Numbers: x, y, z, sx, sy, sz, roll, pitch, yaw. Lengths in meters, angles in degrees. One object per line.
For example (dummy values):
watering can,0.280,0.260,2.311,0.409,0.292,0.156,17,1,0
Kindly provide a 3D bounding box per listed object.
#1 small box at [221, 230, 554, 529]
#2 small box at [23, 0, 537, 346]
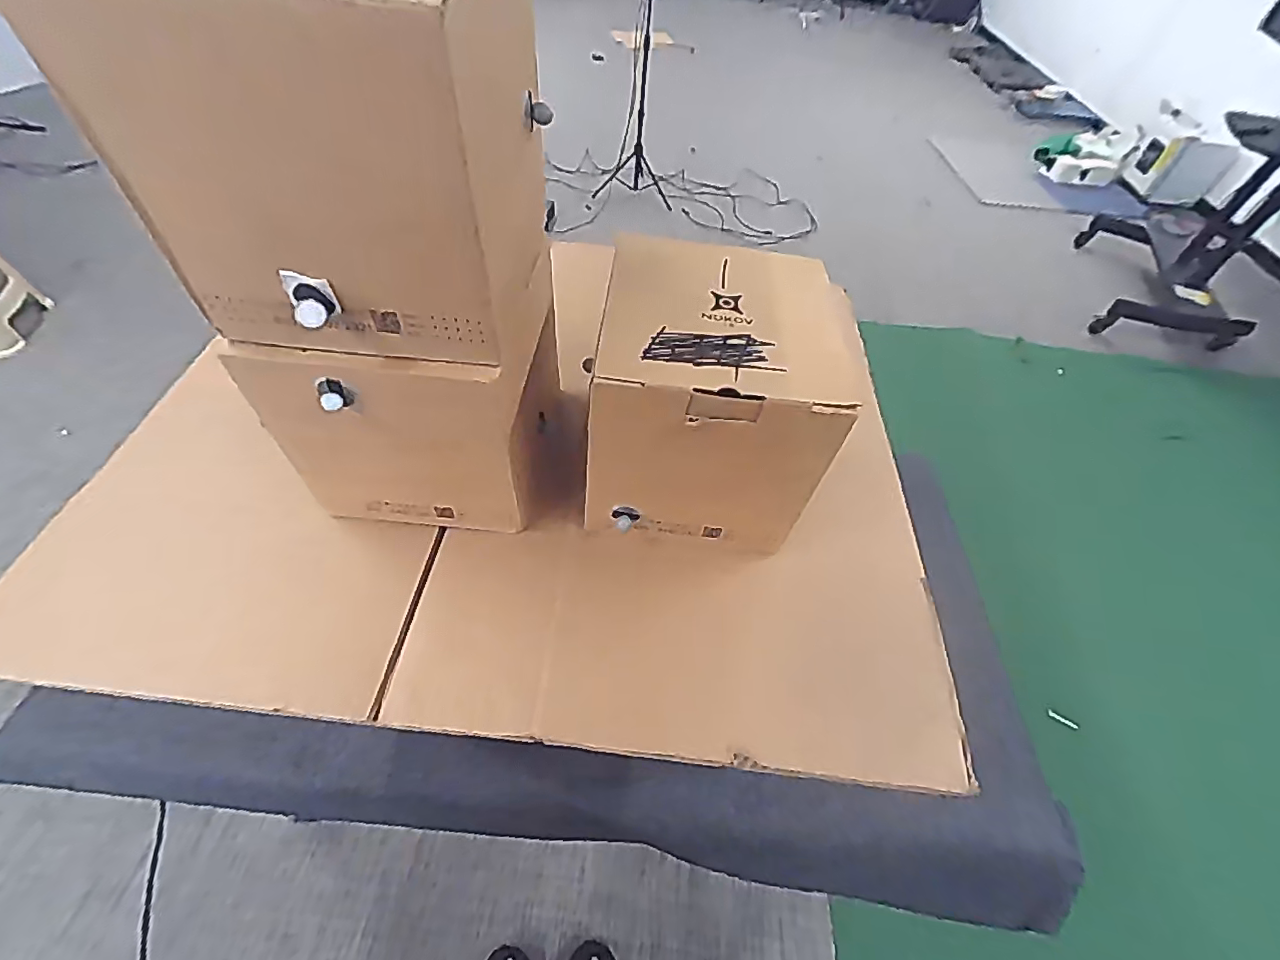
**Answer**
small box,-0.165,-0.084,0.431,0.168,0.176,0.179,5,52,1
small box,-0.153,-0.200,0.296,0.168,0.176,0.179,3,54,-2
